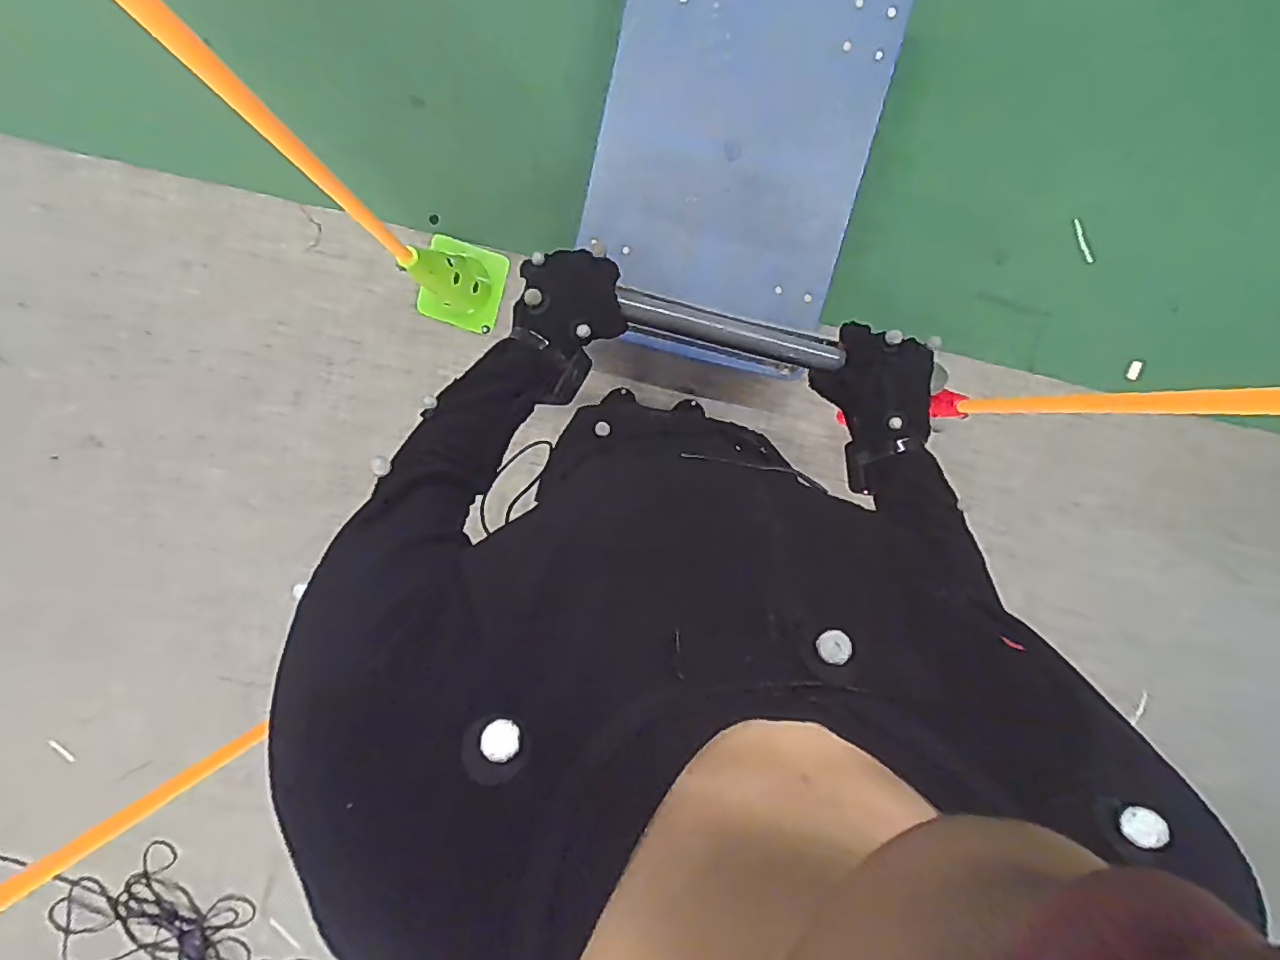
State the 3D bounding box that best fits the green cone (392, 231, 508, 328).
[{"bbox_3d":[-0.448,-0.474,1.201,0.202,0.368,0.200,17,100,-3],"label":"green cone"}]
